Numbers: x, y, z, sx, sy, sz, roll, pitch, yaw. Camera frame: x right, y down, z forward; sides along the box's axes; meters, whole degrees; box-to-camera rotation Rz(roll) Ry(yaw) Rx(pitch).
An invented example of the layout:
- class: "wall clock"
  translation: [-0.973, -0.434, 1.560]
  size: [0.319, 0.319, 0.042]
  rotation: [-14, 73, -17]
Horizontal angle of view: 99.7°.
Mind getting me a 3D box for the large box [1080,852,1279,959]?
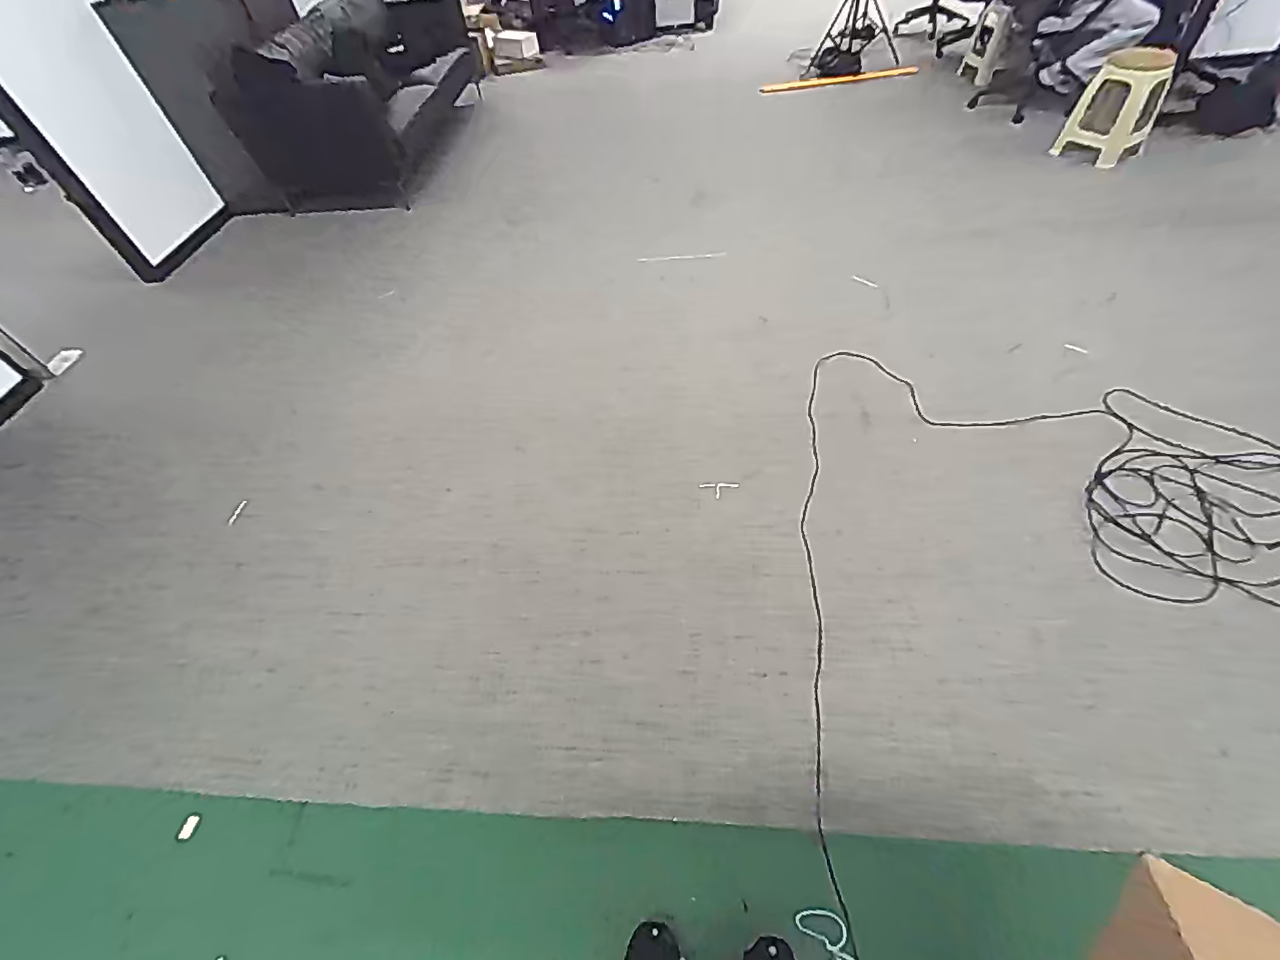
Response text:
- class: "large box"
  translation: [0.649, 0.690, 0.519]
  size: [0.320, 0.408, 0.320]
  rotation: [25, 98, 31]
